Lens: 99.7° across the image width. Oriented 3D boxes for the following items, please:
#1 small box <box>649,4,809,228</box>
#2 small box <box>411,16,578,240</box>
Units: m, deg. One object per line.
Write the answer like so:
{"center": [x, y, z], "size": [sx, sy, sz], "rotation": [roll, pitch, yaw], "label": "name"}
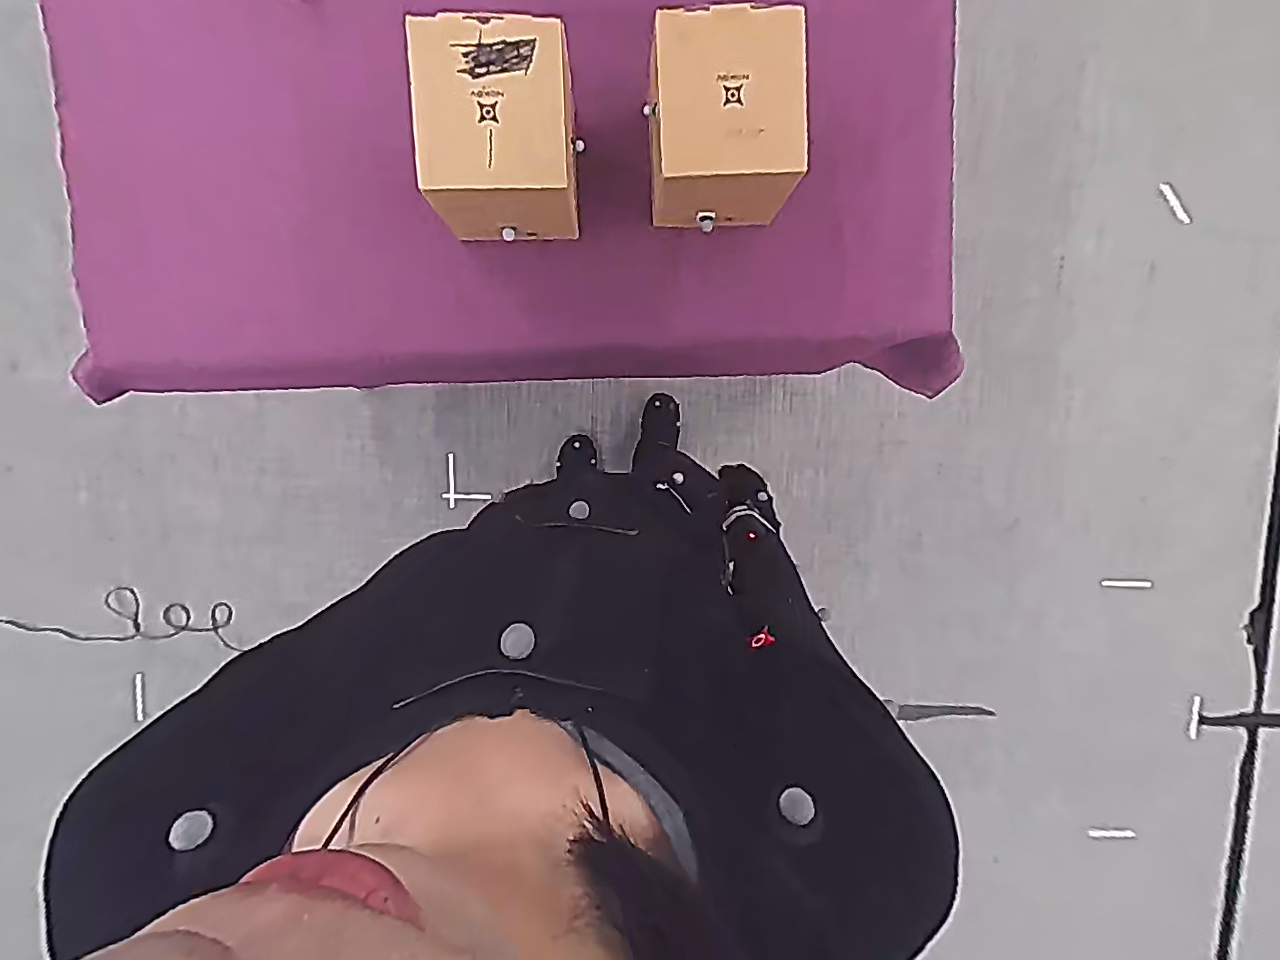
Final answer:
{"center": [0.100, -0.437, 0.674], "size": [0.168, 0.176, 0.179], "rotation": [-3, 96, -1], "label": "small box"}
{"center": [-0.165, -0.414, 0.662], "size": [0.168, 0.176, 0.179], "rotation": [-2, 96, -2], "label": "small box"}
